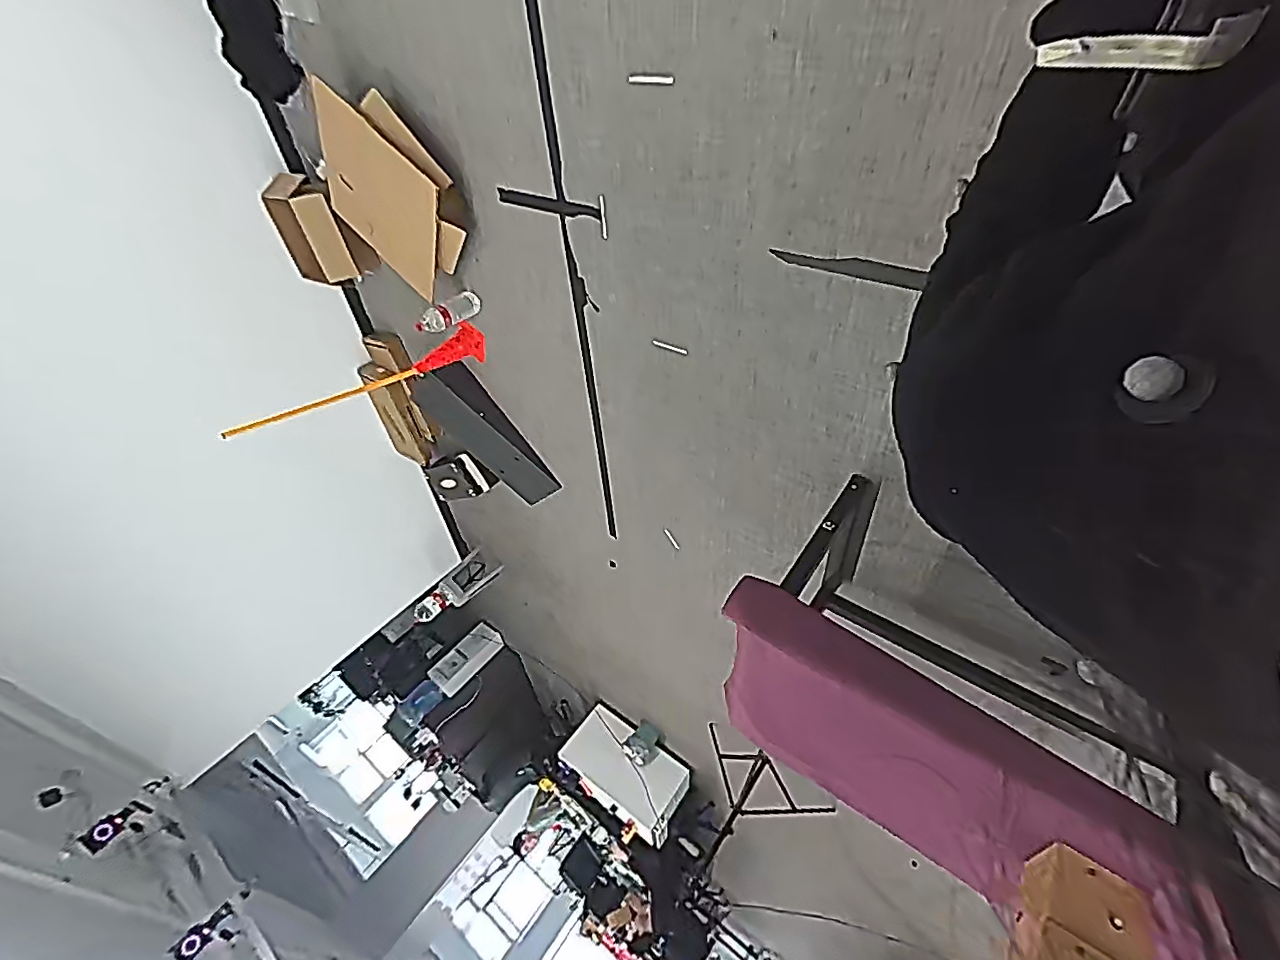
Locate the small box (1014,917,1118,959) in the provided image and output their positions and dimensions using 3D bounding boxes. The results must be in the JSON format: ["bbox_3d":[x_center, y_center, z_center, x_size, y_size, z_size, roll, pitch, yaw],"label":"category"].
[{"bbox_3d":[0.798,0.956,0.994,0.168,0.176,0.179,21,139,33],"label":"small box"}]

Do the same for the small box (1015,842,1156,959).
[{"bbox_3d":[0.902,0.880,1.098,0.168,0.176,0.179,25,141,29],"label":"small box"}]
